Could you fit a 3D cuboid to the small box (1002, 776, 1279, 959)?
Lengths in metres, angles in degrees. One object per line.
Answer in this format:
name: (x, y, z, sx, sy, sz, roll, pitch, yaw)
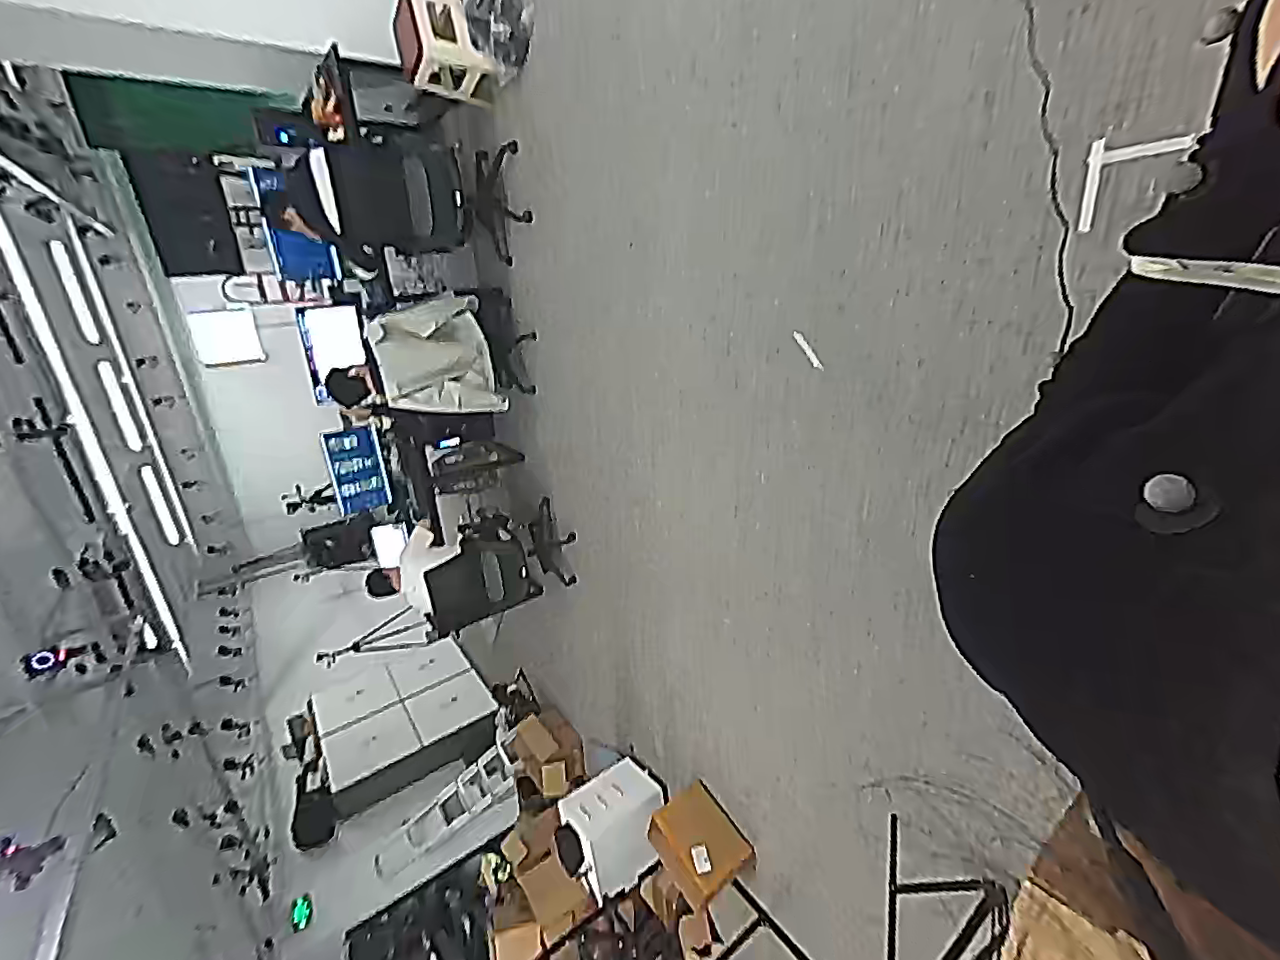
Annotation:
small box: (0.432, 0.397, 0.452, 0.168, 0.176, 0.179, 21, 120, 51)
